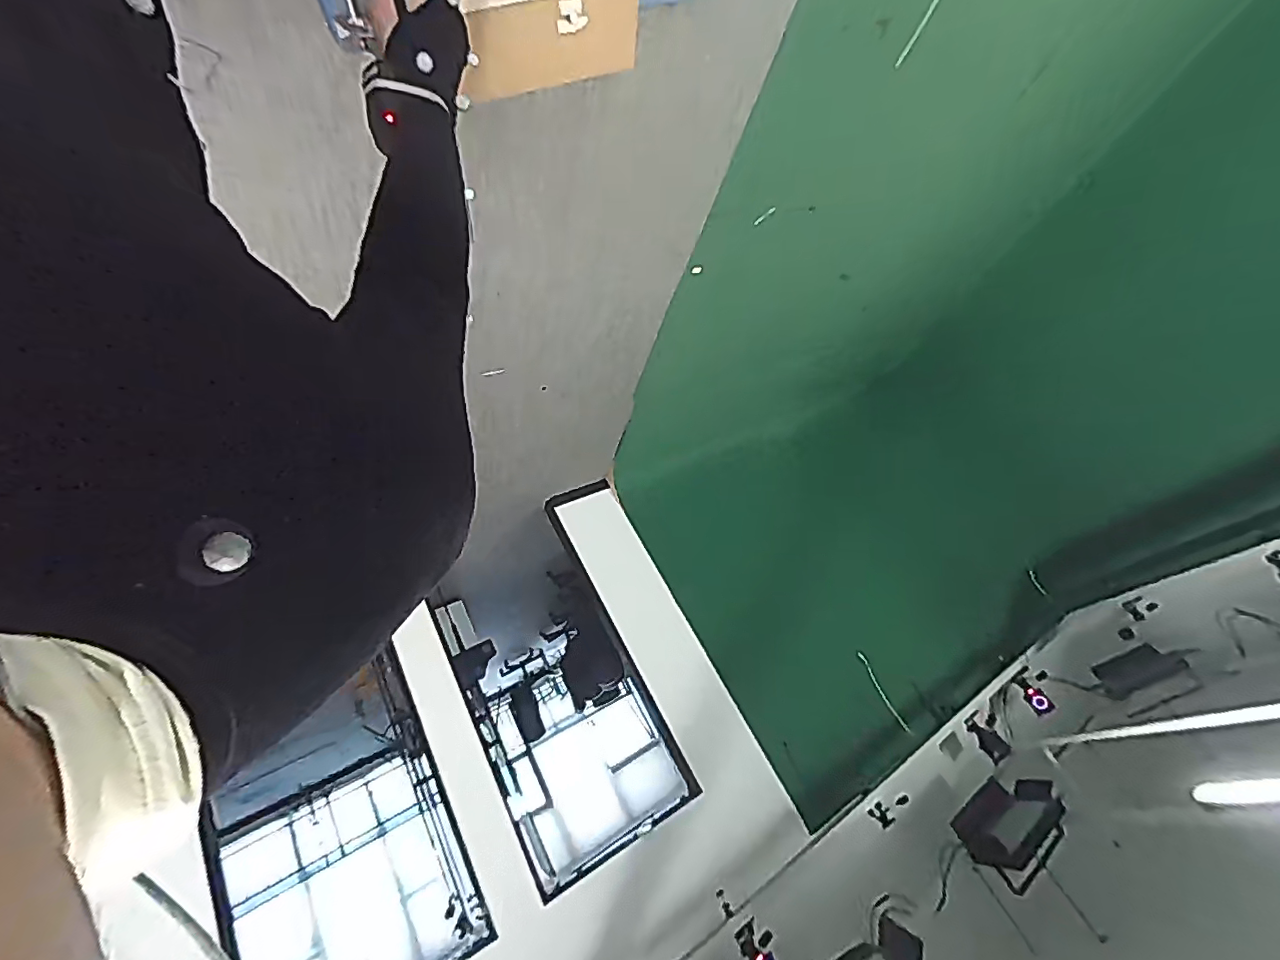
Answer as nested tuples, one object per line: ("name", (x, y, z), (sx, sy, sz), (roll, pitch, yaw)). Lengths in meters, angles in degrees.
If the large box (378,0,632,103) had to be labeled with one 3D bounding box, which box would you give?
("large box", (-0.257, -0.939, 0.934), (0.408, 0.320, 0.320), (-25, 160, -16))
